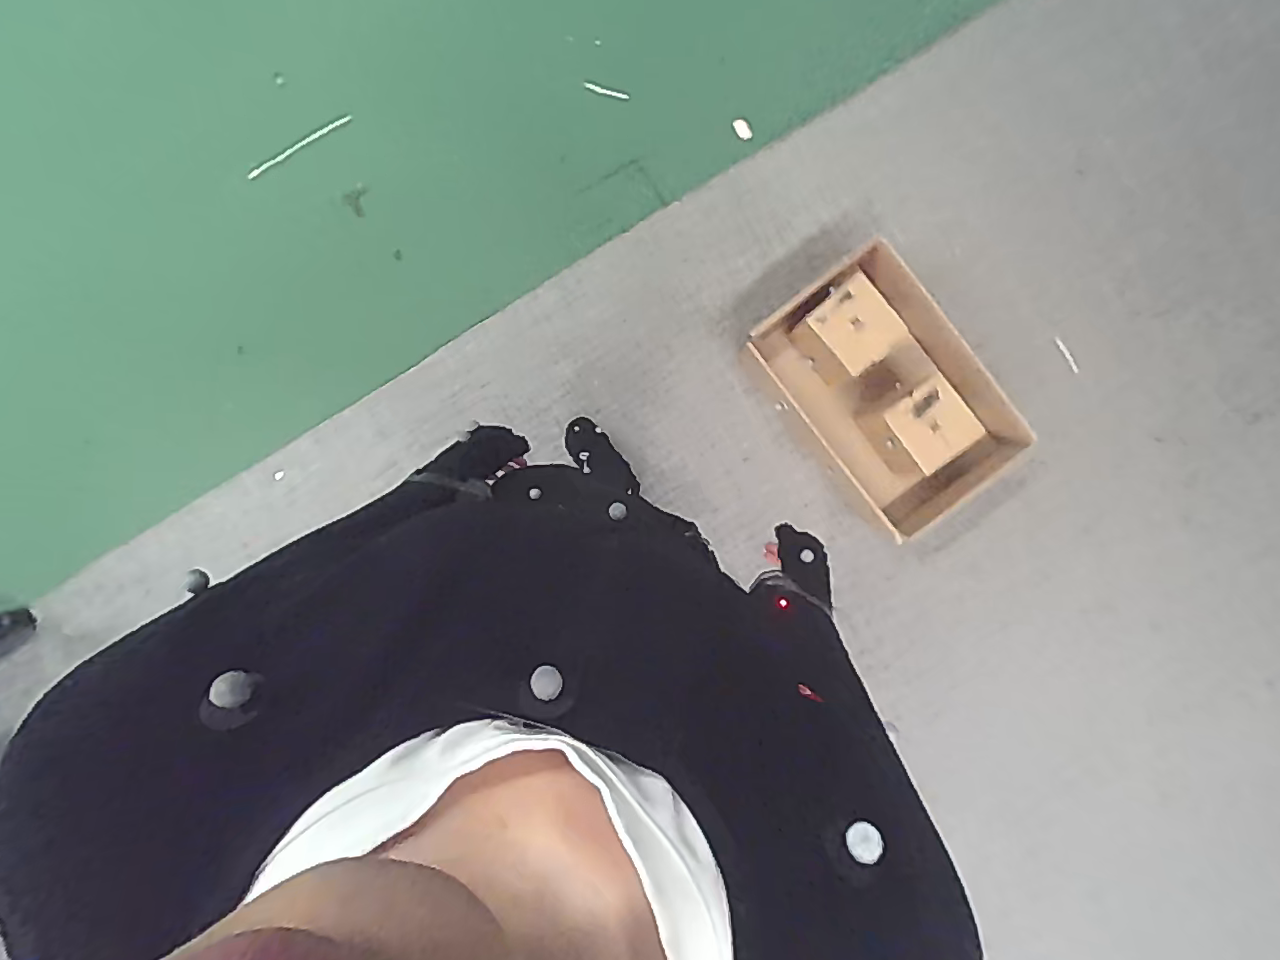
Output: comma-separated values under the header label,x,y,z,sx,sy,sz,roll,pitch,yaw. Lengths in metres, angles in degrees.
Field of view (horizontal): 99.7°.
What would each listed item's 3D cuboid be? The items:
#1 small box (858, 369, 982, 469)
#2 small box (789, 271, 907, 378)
label,x,y,z,sx,sy,sz,roll,pitch,yaw
small box,0.666,-0.139,1.311,0.168,0.176,0.179,-36,91,2
small box,0.494,-0.363,1.306,0.168,0.176,0.179,-40,92,1
